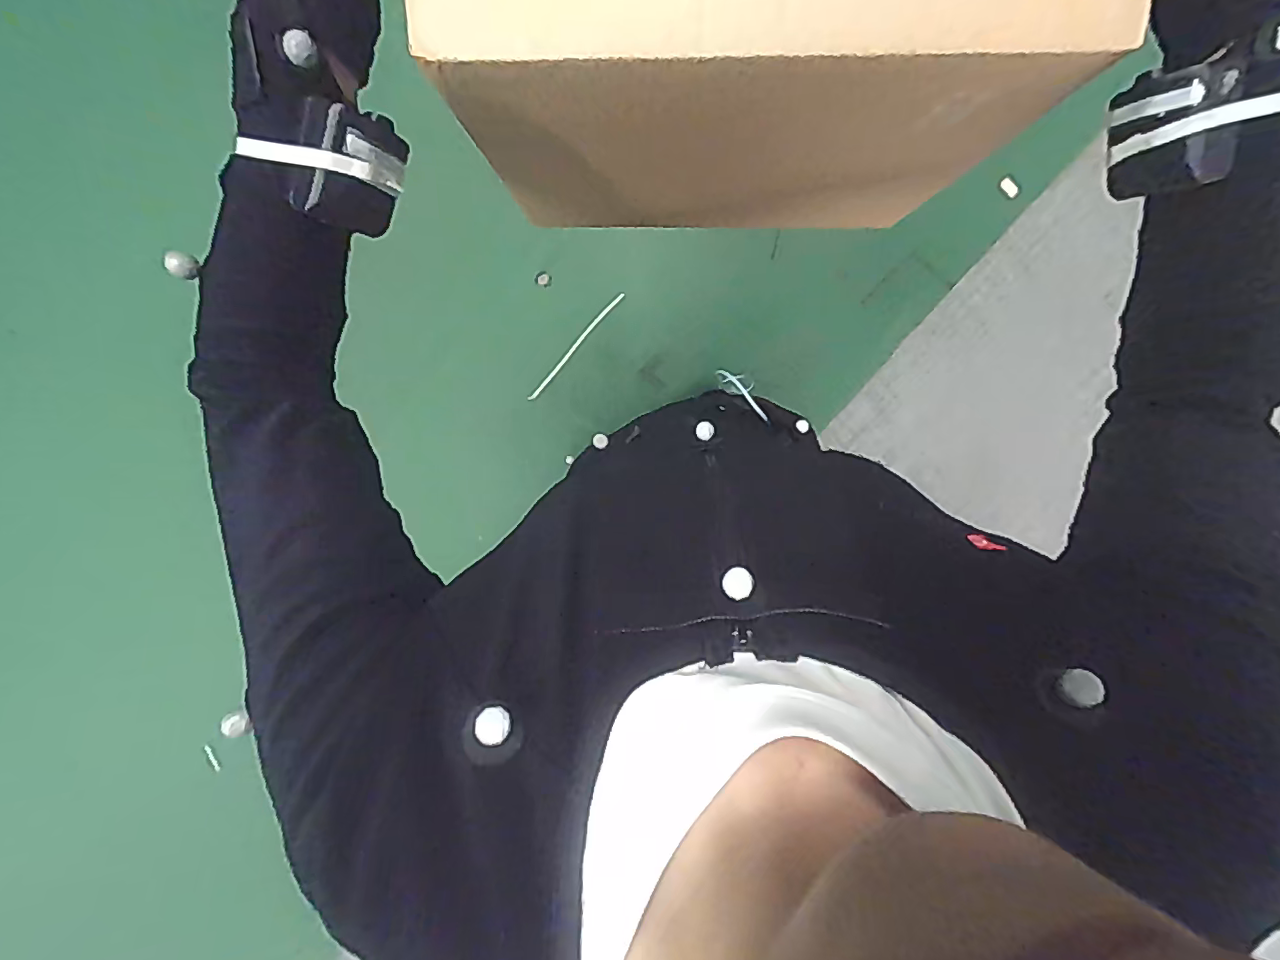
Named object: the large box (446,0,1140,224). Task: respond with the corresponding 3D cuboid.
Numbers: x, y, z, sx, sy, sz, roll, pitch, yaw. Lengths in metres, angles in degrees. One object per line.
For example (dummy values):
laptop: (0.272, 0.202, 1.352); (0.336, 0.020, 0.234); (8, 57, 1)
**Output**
large box: (0.085, -0.419, 0.437); (0.408, 0.320, 0.320); (1, 99, 0)
